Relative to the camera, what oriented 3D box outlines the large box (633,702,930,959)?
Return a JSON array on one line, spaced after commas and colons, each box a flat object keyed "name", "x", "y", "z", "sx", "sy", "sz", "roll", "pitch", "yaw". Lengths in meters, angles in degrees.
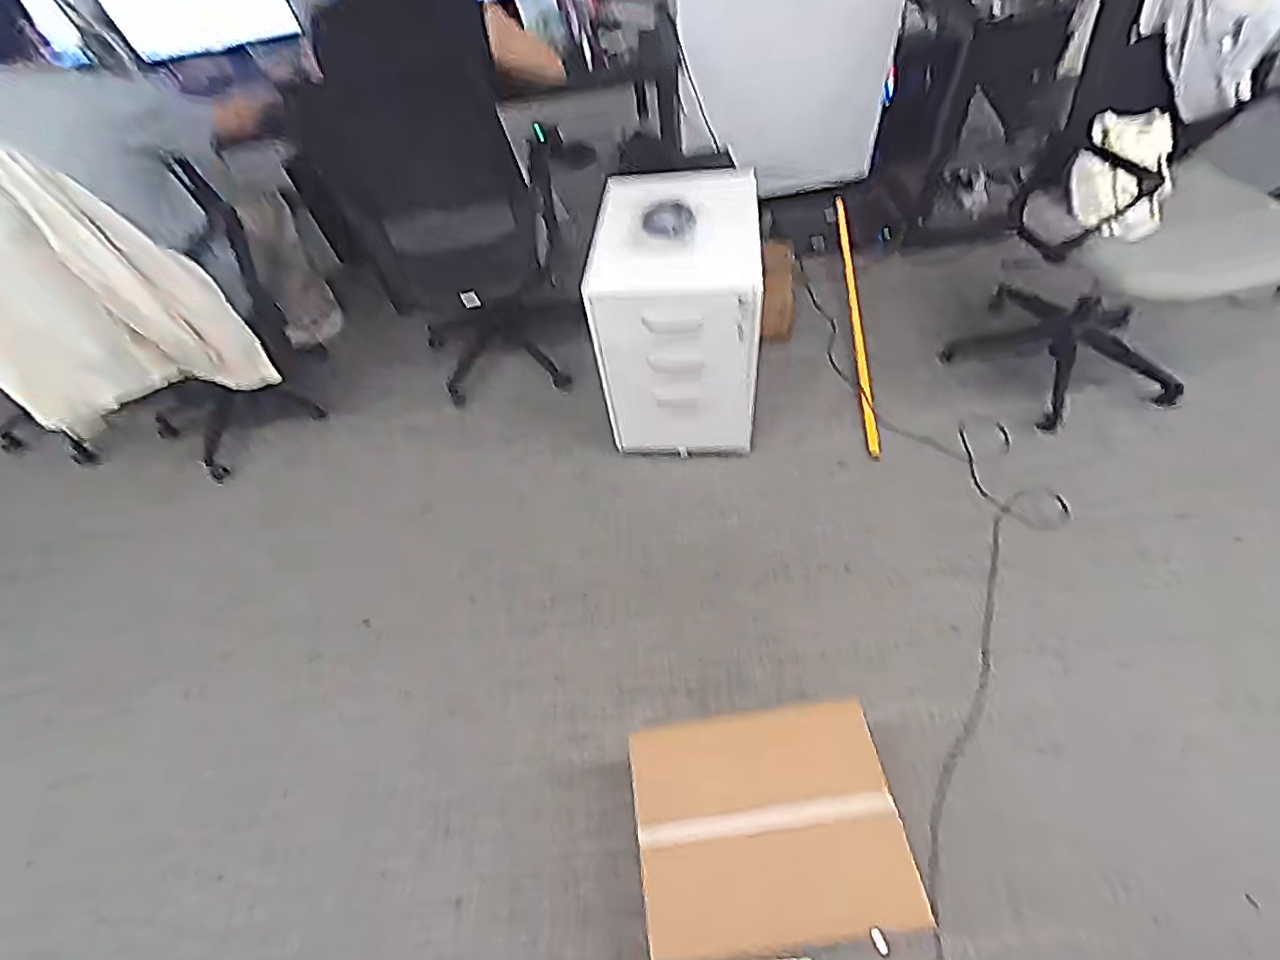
[{"name": "large box", "x": 0.219, "y": 0.629, "z": 0.979, "sx": 0.408, "sy": 0.320, "sz": 0.320, "roll": -10, "pitch": 53, "yaw": 1}]
